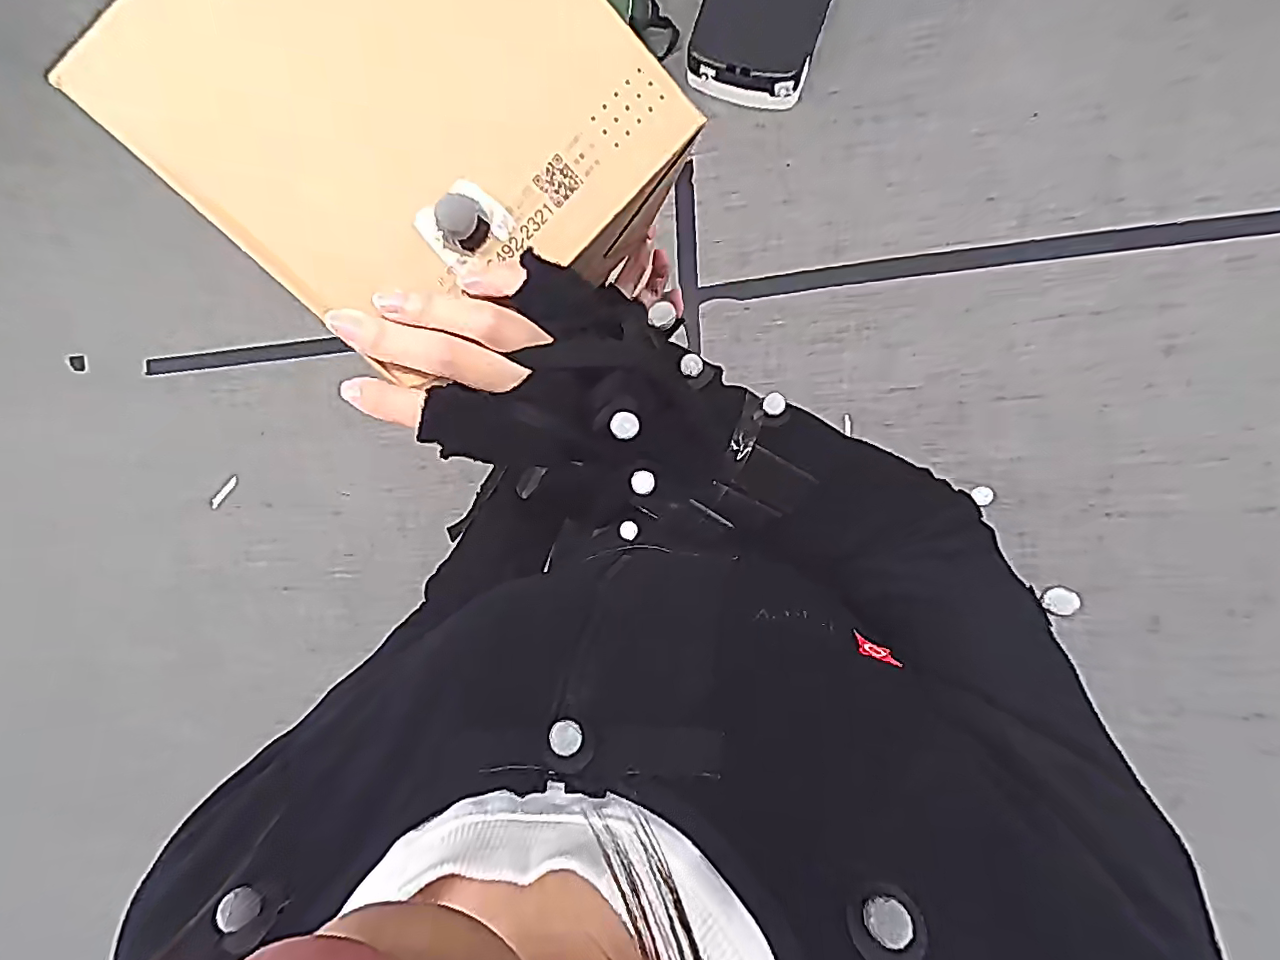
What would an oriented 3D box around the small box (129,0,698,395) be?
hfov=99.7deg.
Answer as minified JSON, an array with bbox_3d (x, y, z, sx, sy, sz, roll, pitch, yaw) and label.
[{"bbox_3d":[-0.094,-0.163,0.302,0.176,0.179,0.168,43,92,-13],"label":"small box"}]
